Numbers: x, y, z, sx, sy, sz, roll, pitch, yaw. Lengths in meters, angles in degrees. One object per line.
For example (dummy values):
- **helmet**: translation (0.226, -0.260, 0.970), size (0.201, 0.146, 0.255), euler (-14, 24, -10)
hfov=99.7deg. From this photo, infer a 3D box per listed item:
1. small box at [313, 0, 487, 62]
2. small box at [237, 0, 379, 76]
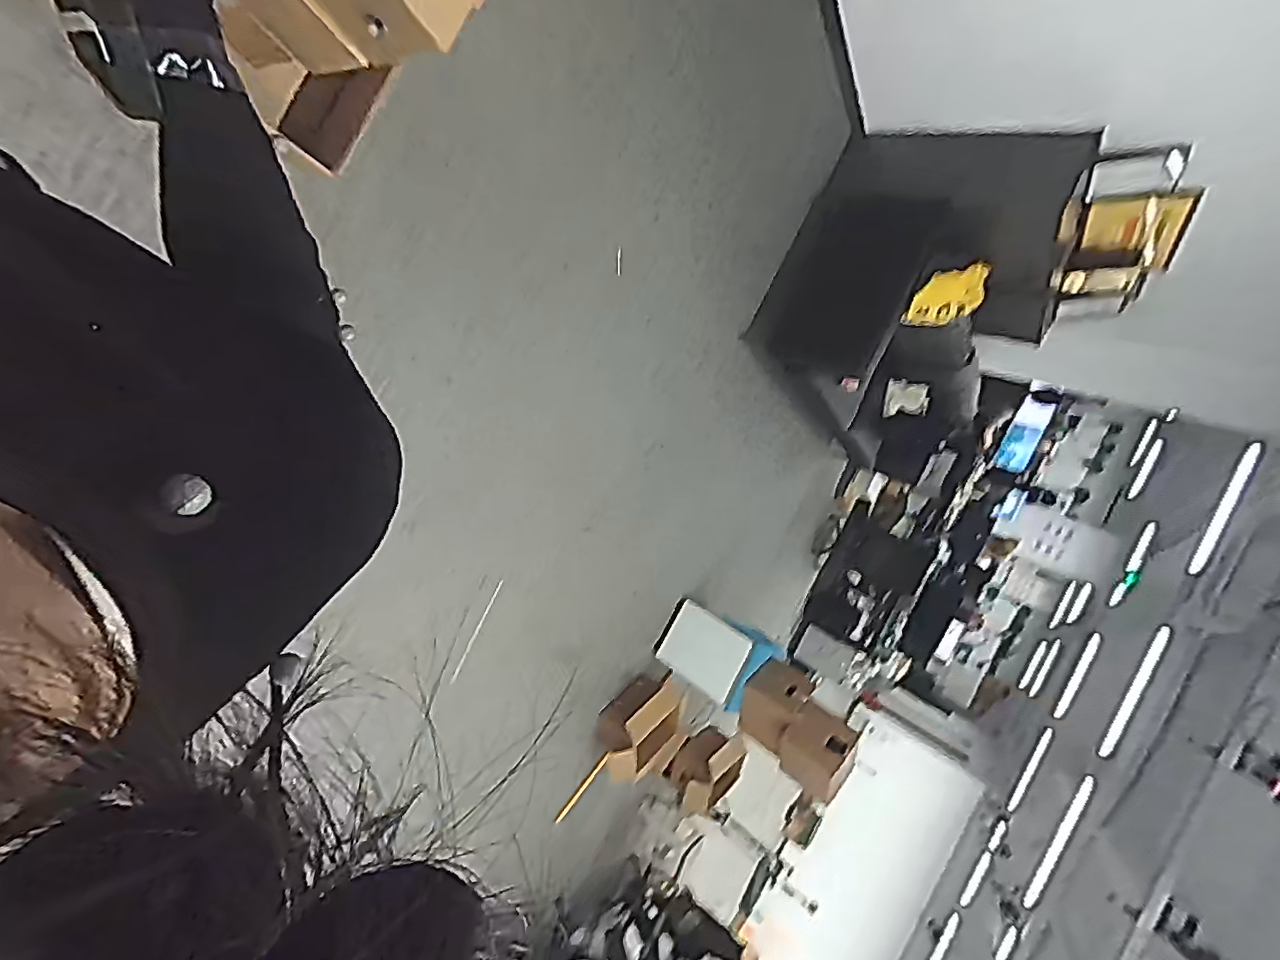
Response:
- **small box**: translation (-0.252, -0.553, 0.529), size (0.168, 0.176, 0.179), euler (-60, 144, -5)
- **small box**: translation (-0.378, -0.605, 0.619), size (0.168, 0.176, 0.179), euler (-60, 145, -5)
